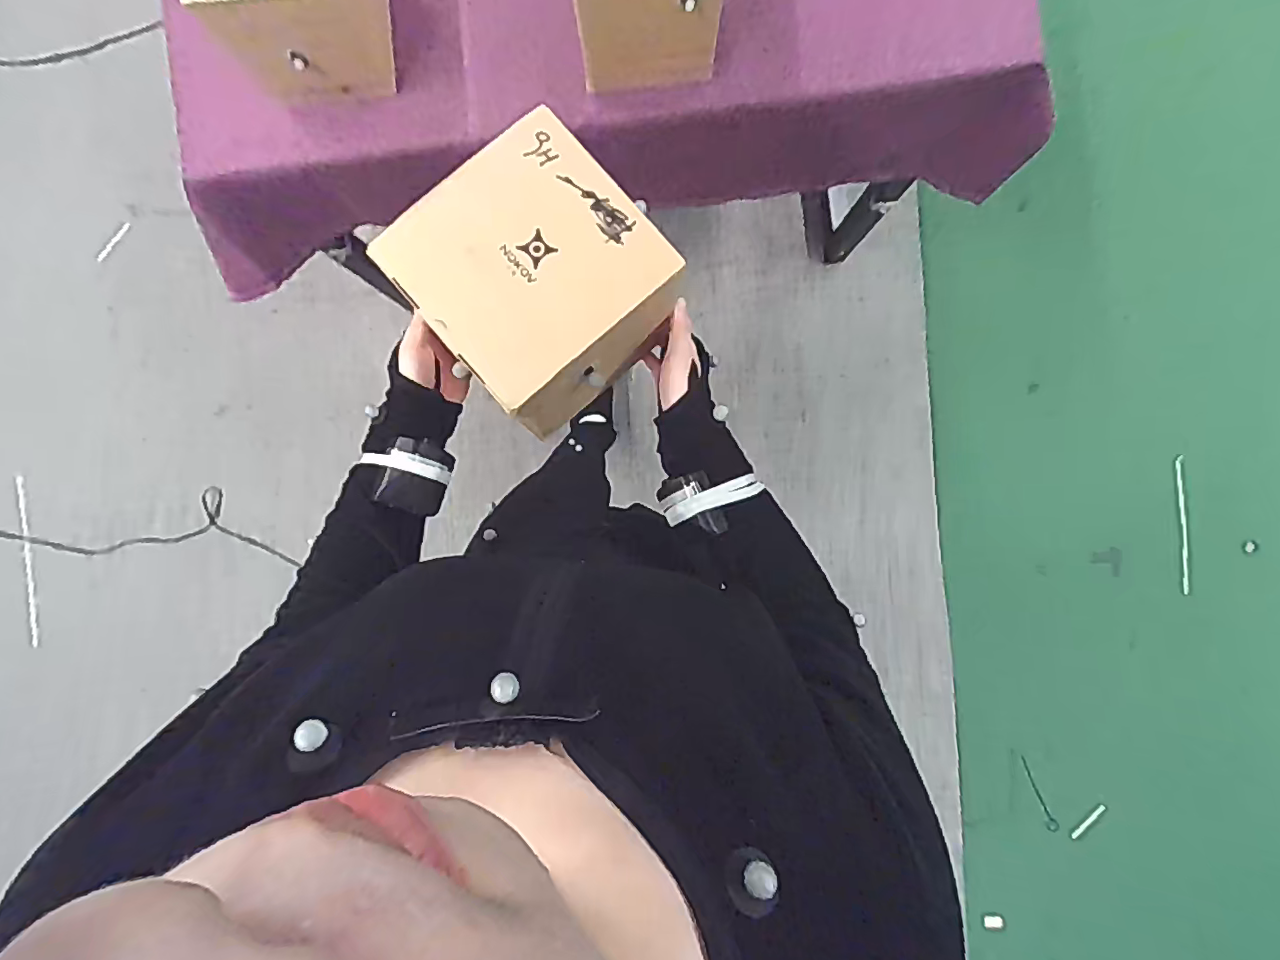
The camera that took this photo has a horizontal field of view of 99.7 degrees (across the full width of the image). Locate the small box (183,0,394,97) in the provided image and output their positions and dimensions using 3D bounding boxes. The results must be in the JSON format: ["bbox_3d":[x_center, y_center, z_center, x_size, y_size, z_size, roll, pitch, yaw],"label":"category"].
[{"bbox_3d":[-0.423,-0.609,0.668,0.168,0.176,0.179,-4,90,0],"label":"small box"}]

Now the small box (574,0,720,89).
[{"bbox_3d":[0.005,-0.621,0.665,0.179,0.176,0.168,-6,90,0],"label":"small box"}]

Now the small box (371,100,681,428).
[{"bbox_3d":[-0.084,-0.165,0.477,0.179,0.176,0.168,-40,90,-2],"label":"small box"}]
